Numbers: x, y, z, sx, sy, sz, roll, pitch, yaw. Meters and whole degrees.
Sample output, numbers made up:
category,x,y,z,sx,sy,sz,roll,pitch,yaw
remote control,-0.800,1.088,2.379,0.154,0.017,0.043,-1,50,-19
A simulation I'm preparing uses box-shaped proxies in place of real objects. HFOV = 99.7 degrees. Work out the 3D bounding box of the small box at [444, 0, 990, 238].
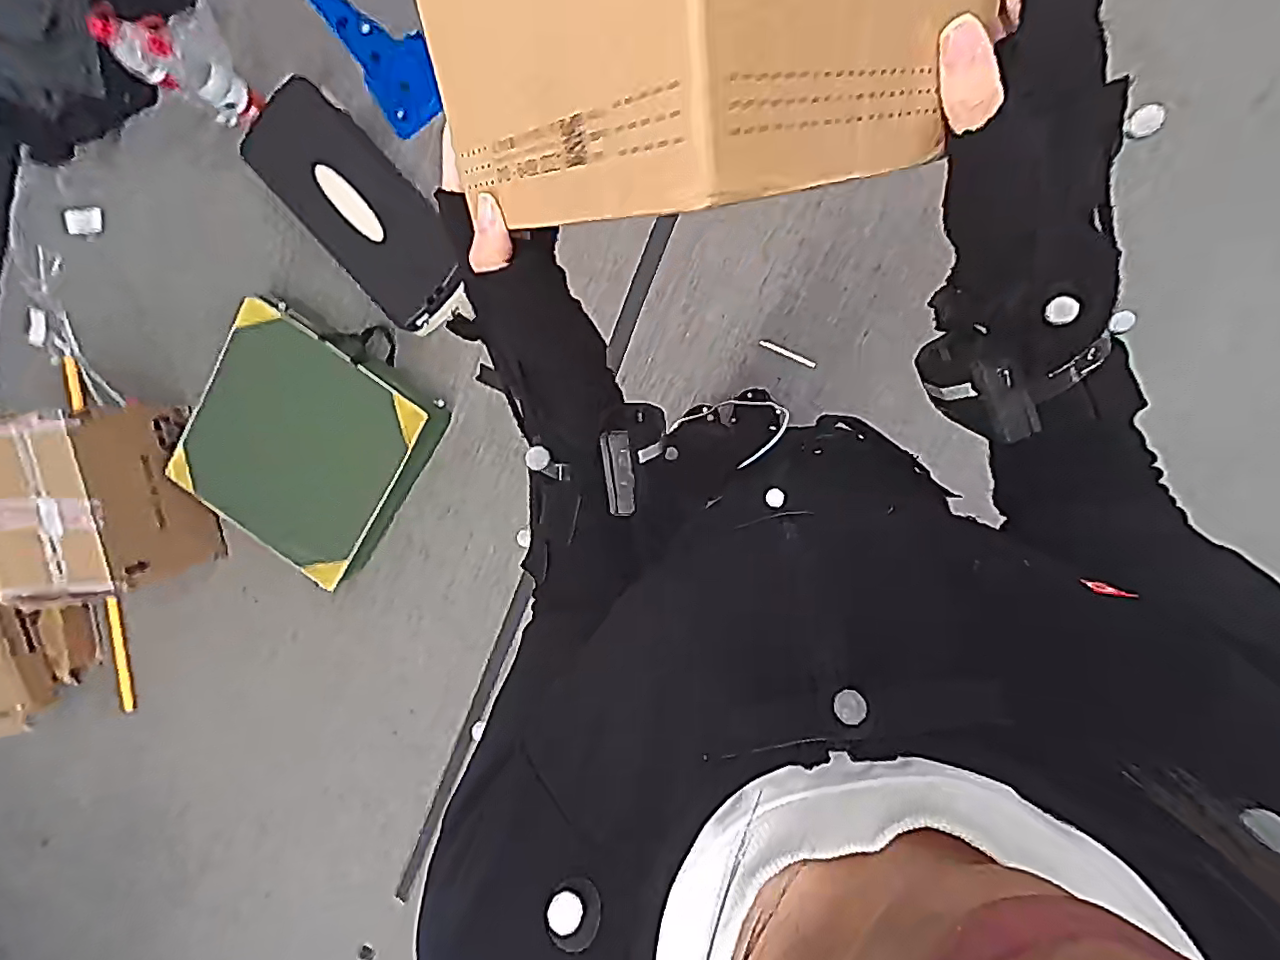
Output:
category,x,y,z,sx,sy,sz,roll,pitch,yaw
small box,0.028,-0.201,0.224,0.179,0.168,0.176,-25,123,-28
